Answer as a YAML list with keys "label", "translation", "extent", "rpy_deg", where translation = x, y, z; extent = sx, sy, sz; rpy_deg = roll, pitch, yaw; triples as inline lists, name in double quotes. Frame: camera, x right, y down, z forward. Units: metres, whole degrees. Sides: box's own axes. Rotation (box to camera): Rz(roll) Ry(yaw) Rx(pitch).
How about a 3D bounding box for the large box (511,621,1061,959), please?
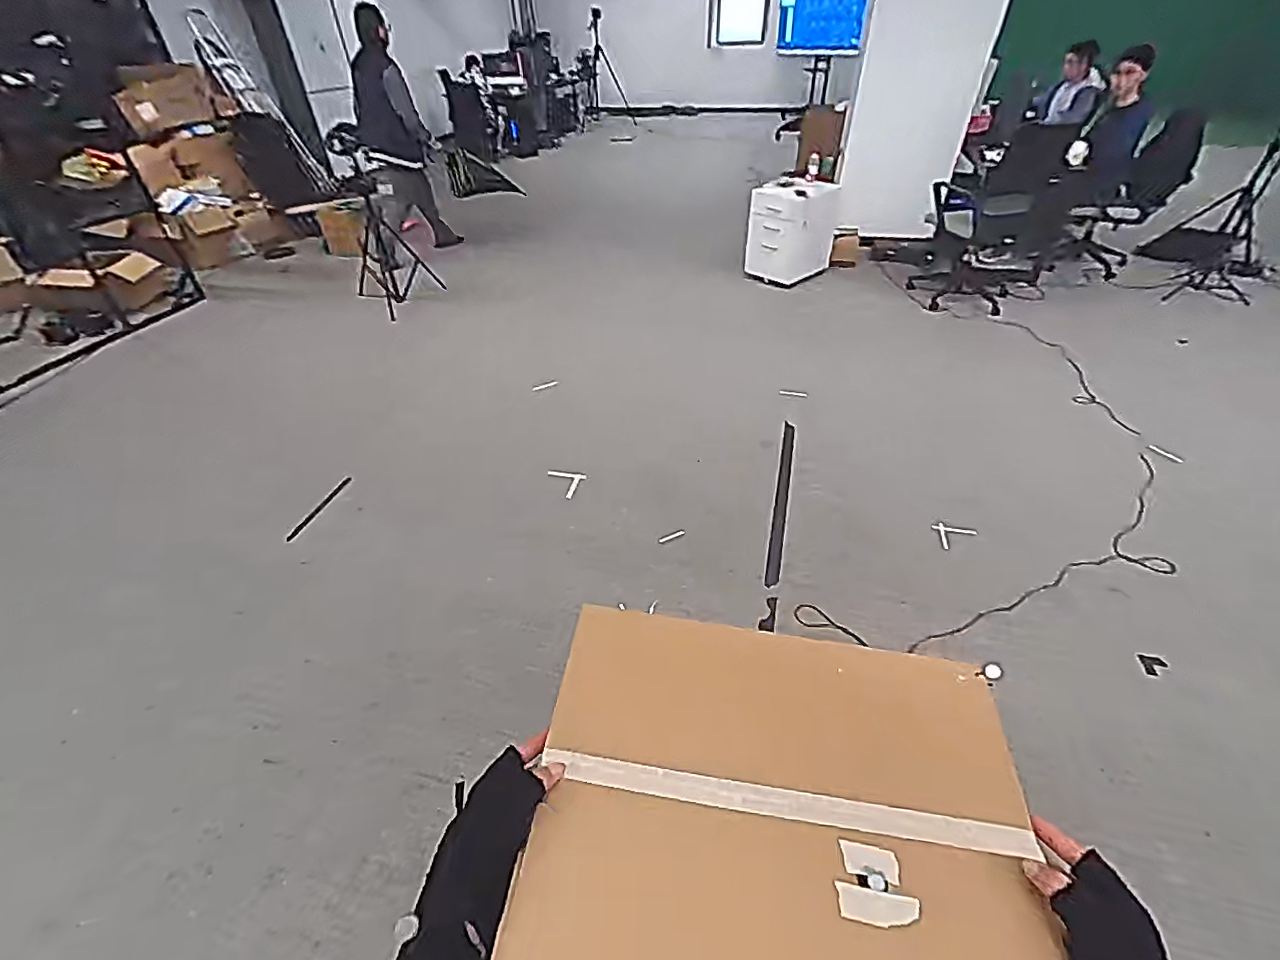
- label: "large box"
  translation: [0.114, 0.383, 0.561]
  extent: [0.408, 0.320, 0.320]
  rpy_deg: [8, 46, 5]
